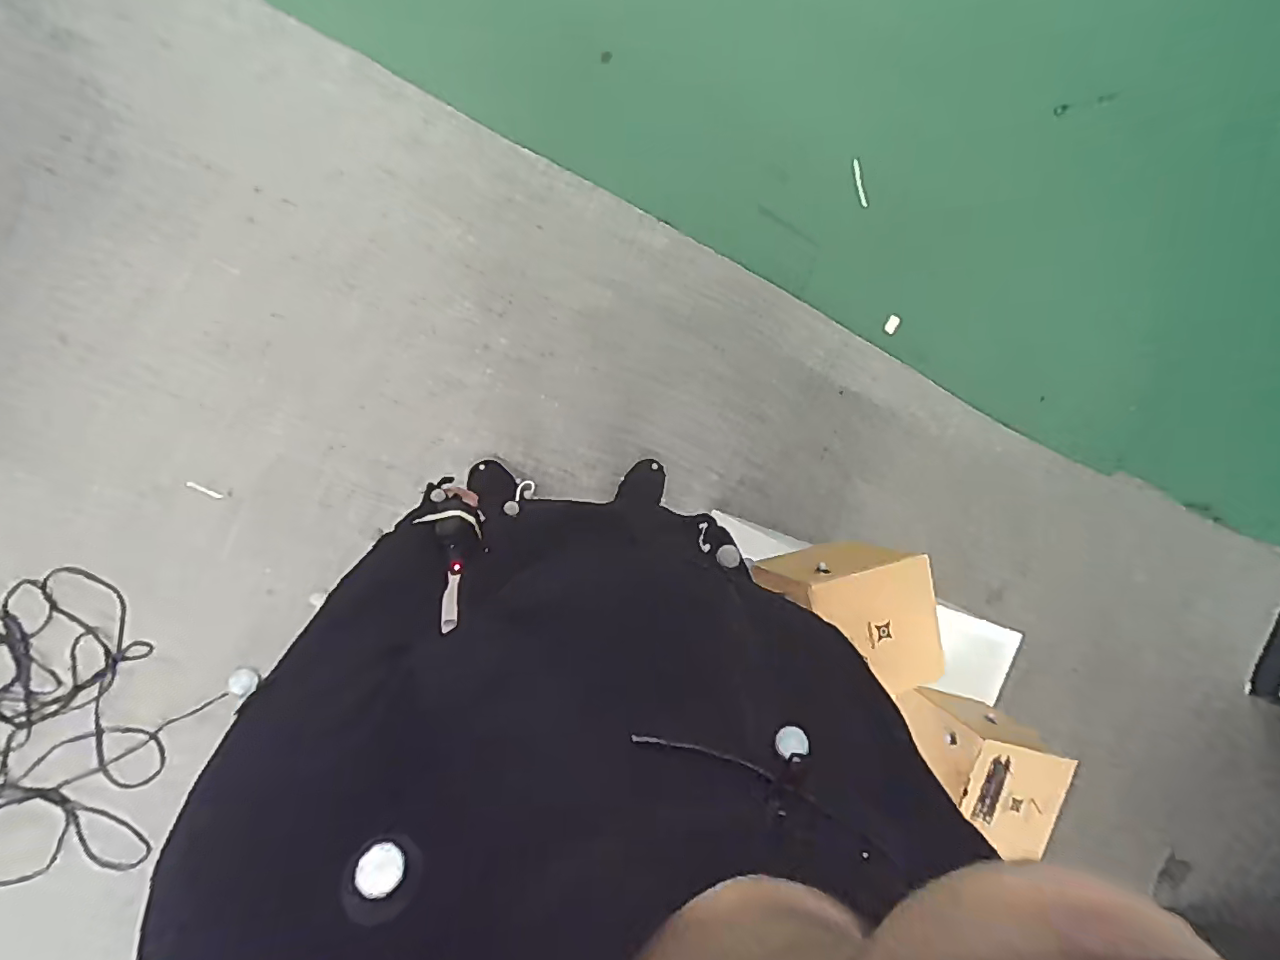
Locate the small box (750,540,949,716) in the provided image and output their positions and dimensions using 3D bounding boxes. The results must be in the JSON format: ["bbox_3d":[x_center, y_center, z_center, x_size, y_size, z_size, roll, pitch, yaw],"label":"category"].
[{"bbox_3d":[0.277,0.186,0.741,0.179,0.176,0.168,-13,93,-14],"label":"small box"}]
